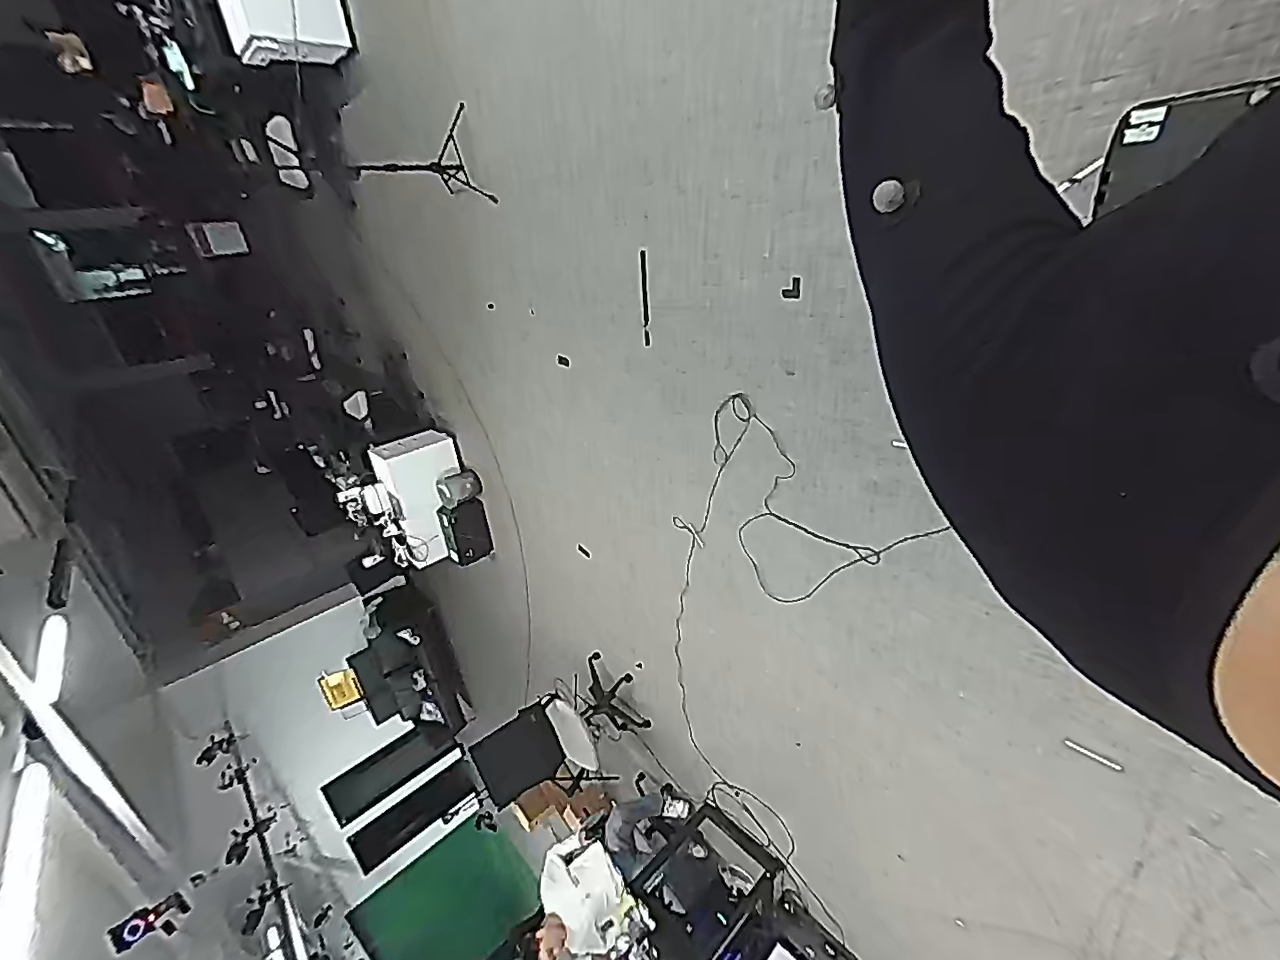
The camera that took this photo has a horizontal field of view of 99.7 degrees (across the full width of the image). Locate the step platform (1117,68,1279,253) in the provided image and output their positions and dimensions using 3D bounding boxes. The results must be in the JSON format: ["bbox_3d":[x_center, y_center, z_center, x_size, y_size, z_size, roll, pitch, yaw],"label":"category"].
[{"bbox_3d":[1.225,-0.539,0.868,0.684,0.204,0.286,18,124,44],"label":"step platform"}]
